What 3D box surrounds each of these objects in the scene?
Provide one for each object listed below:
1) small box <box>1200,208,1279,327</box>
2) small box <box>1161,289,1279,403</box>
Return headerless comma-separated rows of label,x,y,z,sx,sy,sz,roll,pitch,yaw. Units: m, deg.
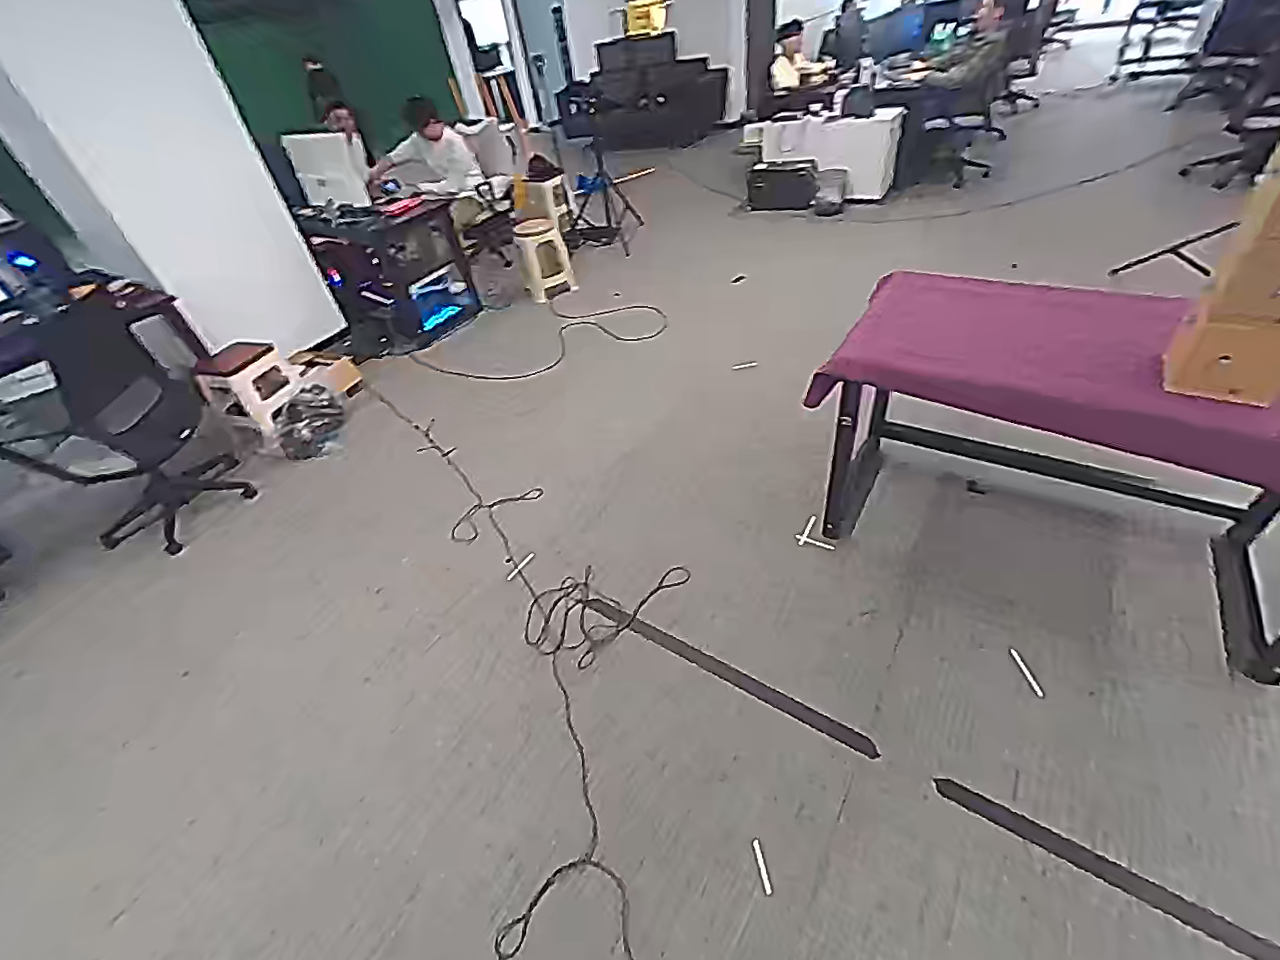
small box,1.242,-0.411,1.051,0.168,0.176,0.179,19,49,30
small box,1.260,-0.287,1.156,0.168,0.176,0.179,19,48,29
